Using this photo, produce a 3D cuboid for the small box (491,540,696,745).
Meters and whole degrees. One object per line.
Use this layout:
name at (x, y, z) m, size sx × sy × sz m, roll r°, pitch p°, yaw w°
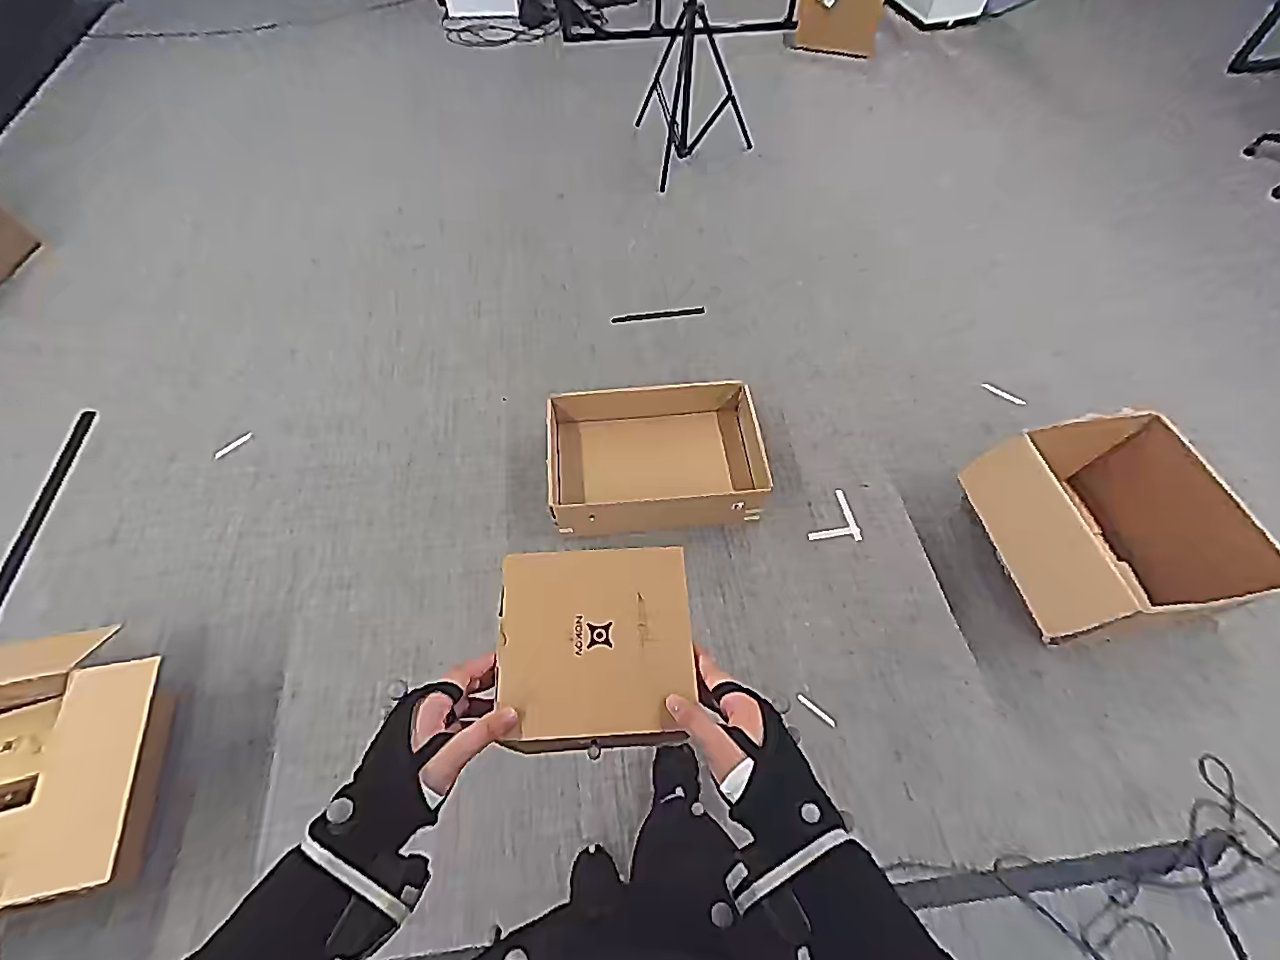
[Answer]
small box at (-0.045, 0.174, 0.561) m, size 0.179 × 0.176 × 0.168 m, roll -3°, pitch 60°, yaw -4°
